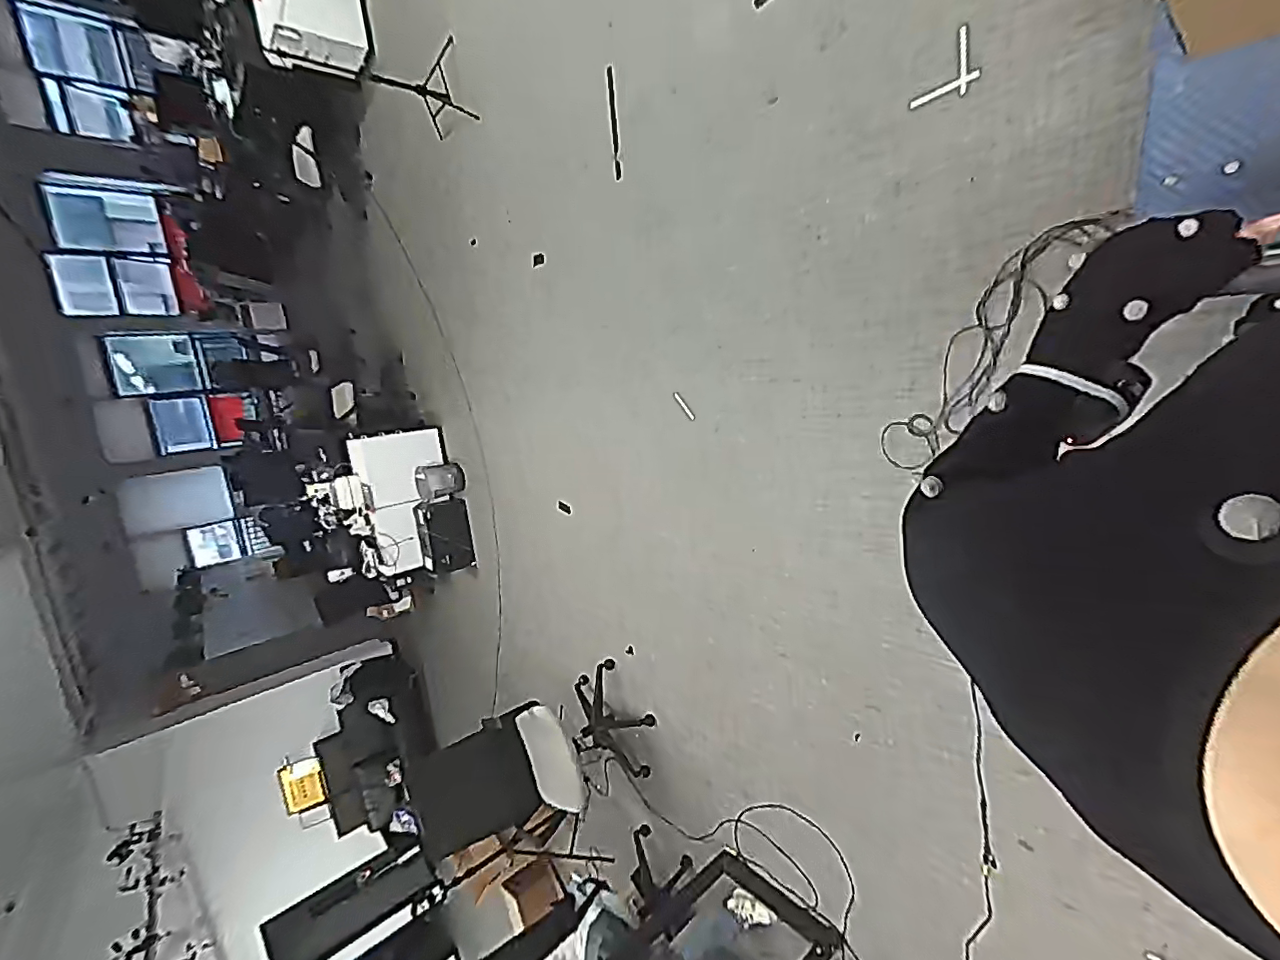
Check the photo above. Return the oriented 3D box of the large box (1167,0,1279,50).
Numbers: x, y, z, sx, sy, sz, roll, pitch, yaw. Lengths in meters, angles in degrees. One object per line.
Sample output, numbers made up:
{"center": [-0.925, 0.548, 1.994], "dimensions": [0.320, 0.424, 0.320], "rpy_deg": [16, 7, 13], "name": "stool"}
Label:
{"center": [0.889, -0.762, 0.584], "dimensions": [0.408, 0.320, 0.320], "rpy_deg": [14, 112, 49], "name": "large box"}
